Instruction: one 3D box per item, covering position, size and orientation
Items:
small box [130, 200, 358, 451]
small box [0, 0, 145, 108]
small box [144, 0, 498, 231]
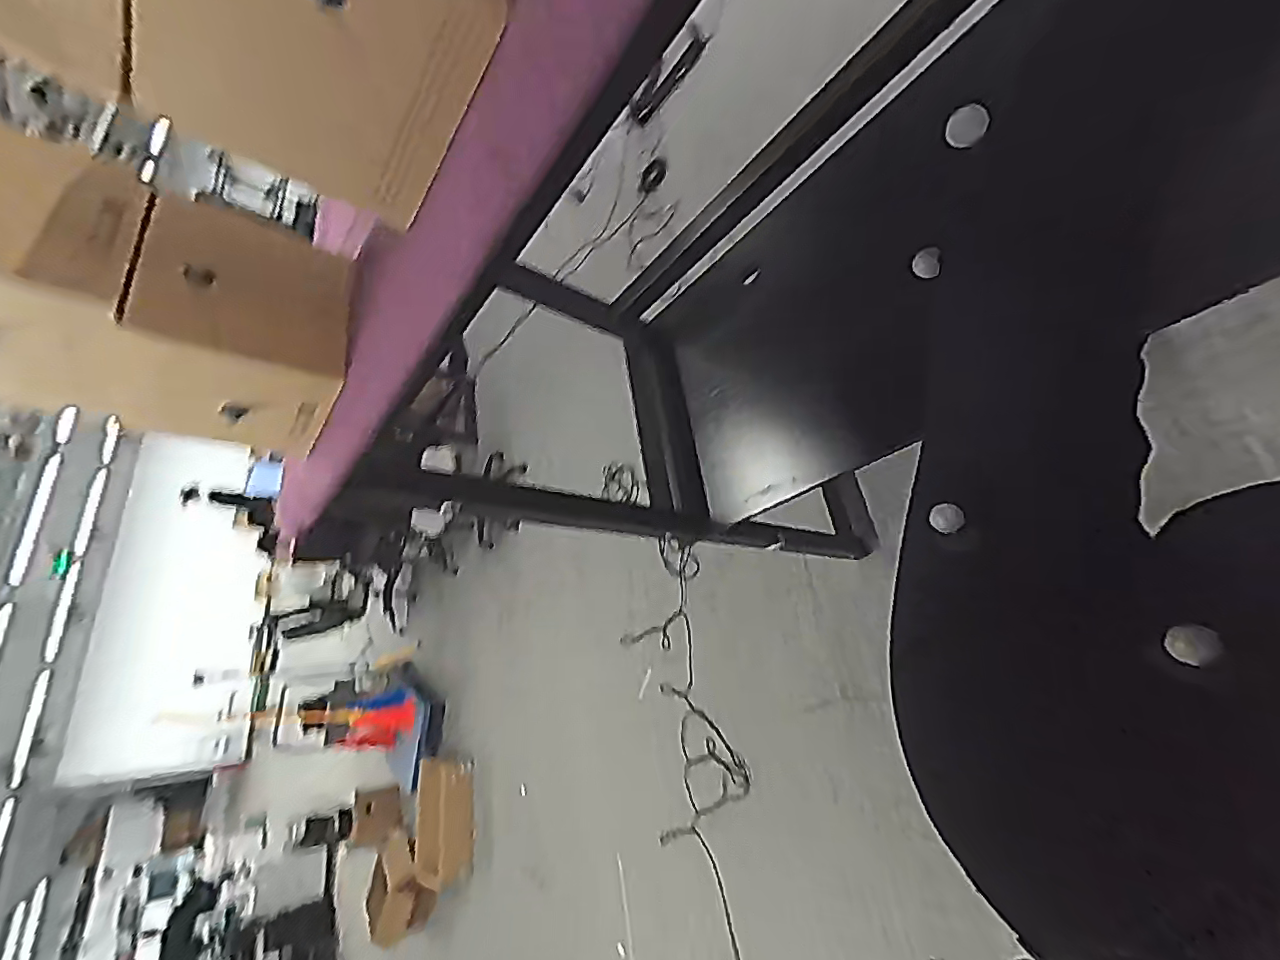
[{"bbox_3d":[-0.411,-0.143,0.573,0.168,0.176,0.179,-35,57,40],"label":"small box"},{"bbox_3d":[-0.329,-0.338,0.262,0.179,0.176,0.168,-37,54,40],"label":"small box"},{"bbox_3d":[-0.201,-0.312,0.361,0.179,0.176,0.168,-36,55,42],"label":"small box"}]
